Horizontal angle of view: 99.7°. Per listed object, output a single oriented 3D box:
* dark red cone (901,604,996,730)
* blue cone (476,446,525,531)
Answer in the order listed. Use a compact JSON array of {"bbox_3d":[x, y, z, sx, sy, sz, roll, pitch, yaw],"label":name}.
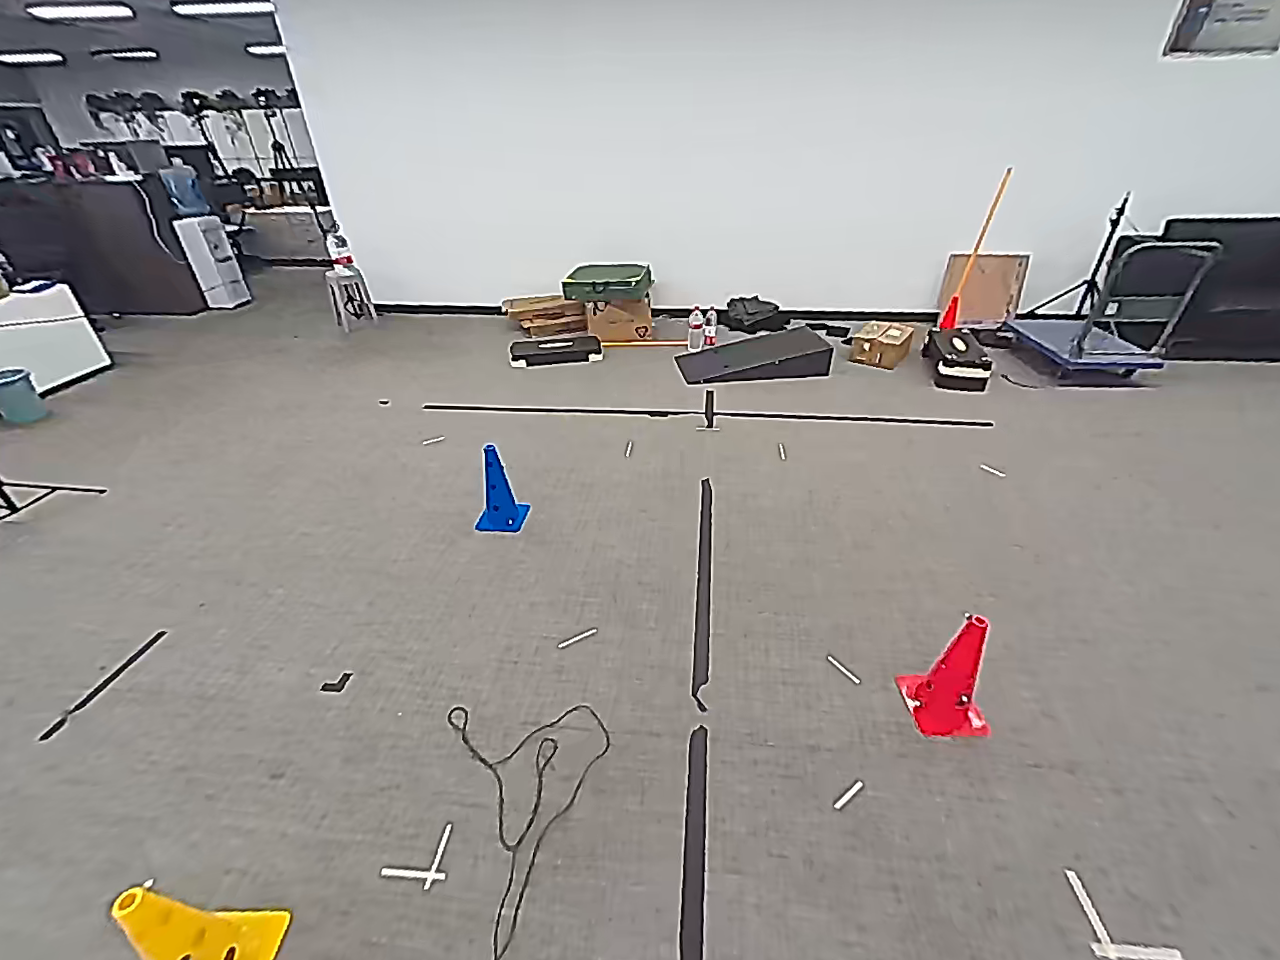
[{"bbox_3d":[0.877,0.488,1.471,0.201,0.394,0.202,-2,33,0],"label":"dark red cone"},{"bbox_3d":[-0.615,0.029,2.284,0.192,0.380,0.193,2,33,7],"label":"blue cone"}]
